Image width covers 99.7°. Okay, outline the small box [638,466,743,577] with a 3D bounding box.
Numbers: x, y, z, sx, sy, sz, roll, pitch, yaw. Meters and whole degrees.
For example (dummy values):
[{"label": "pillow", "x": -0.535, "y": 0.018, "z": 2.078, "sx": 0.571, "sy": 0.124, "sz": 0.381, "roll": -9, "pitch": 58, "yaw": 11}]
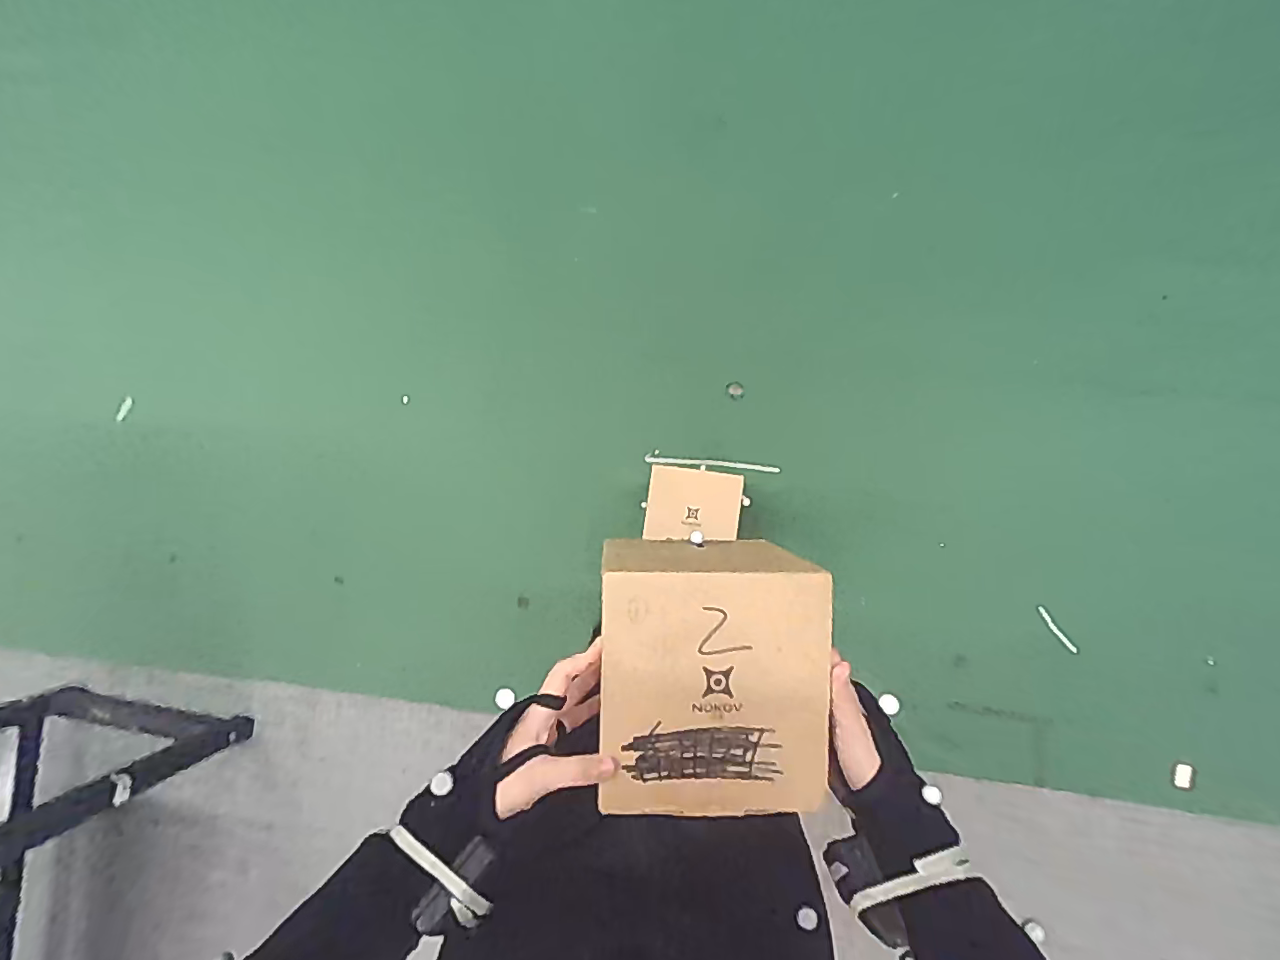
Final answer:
[{"label": "small box", "x": 0.098, "y": 0.076, "z": 1.032, "sx": 0.168, "sy": 0.176, "sz": 0.179, "roll": 8, "pitch": 89, "yaw": 8}]
